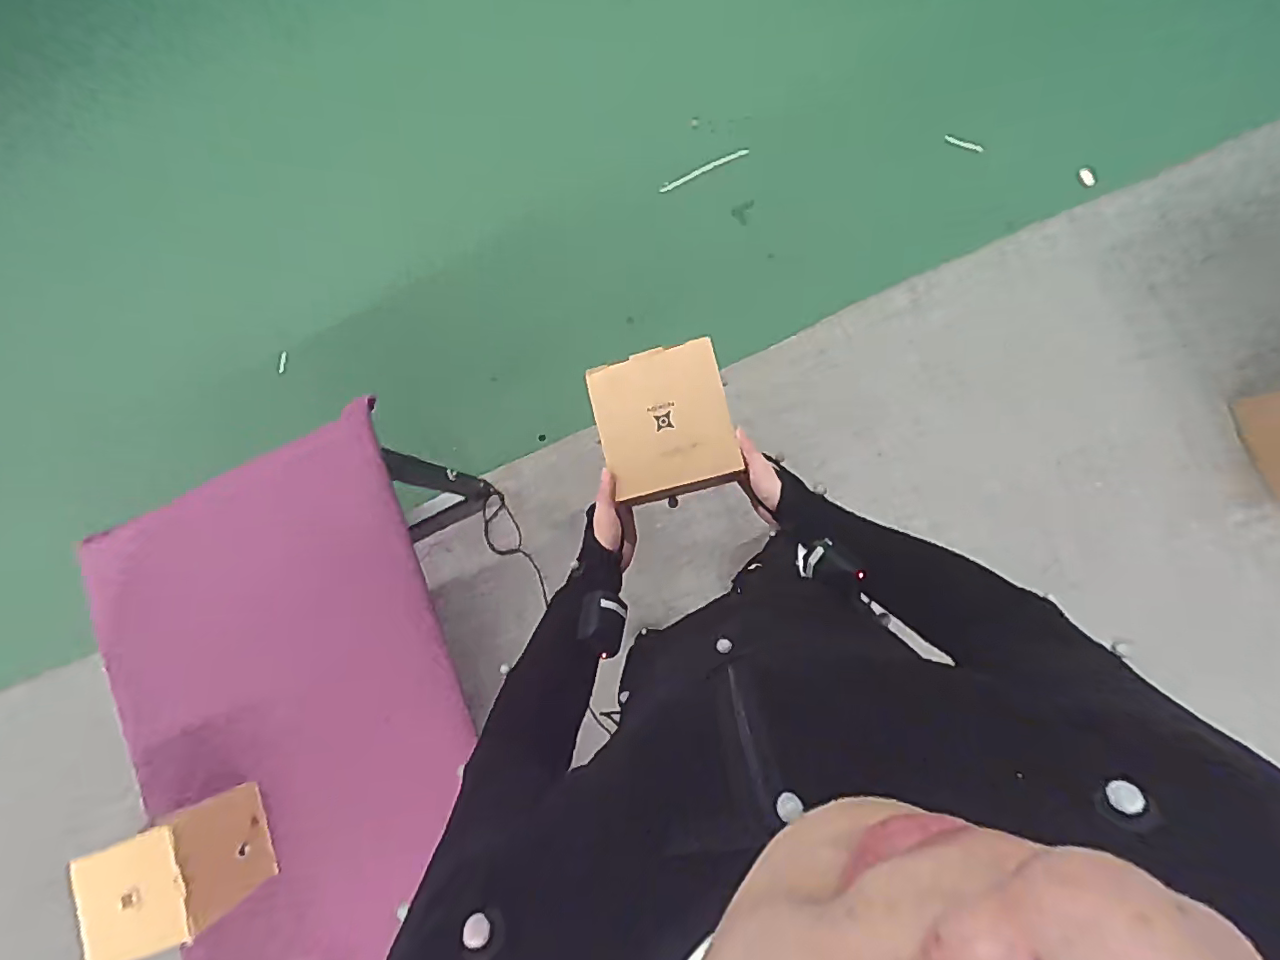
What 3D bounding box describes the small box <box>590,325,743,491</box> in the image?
[{"bbox_3d":[0.040,-0.088,0.755,0.168,0.176,0.179,-13,85,7],"label":"small box"}]
